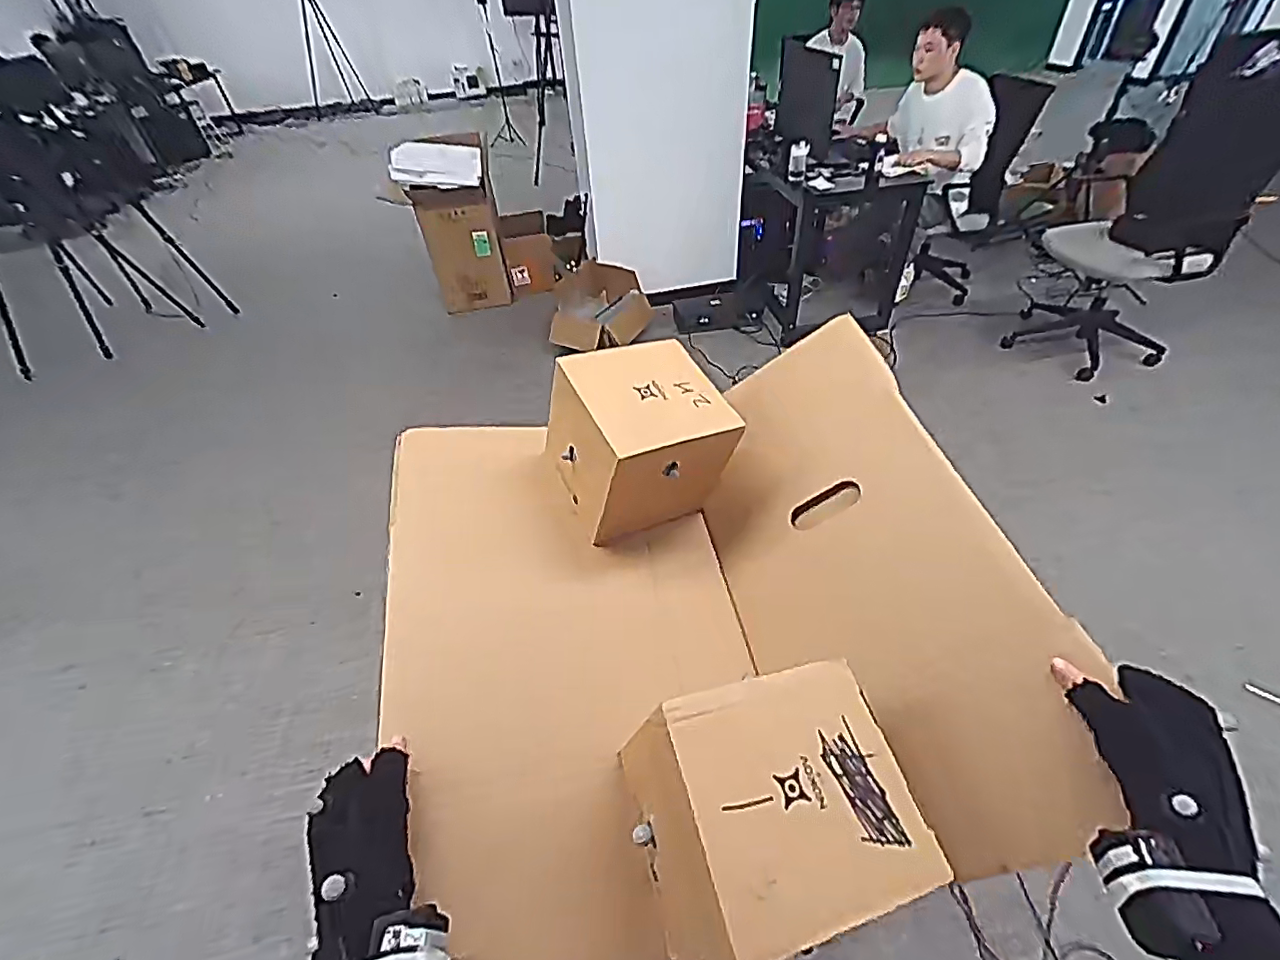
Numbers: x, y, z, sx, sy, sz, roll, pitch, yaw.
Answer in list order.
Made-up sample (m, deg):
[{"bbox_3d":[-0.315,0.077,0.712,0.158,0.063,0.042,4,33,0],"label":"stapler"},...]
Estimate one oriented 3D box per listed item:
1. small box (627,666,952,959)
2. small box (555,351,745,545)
[{"bbox_3d":[0.103,0.280,0.459,0.179,0.176,0.168,-6,54,-19],"label":"small box"},{"bbox_3d":[-0.002,-0.040,0.696,0.179,0.176,0.168,-15,57,-27],"label":"small box"}]
